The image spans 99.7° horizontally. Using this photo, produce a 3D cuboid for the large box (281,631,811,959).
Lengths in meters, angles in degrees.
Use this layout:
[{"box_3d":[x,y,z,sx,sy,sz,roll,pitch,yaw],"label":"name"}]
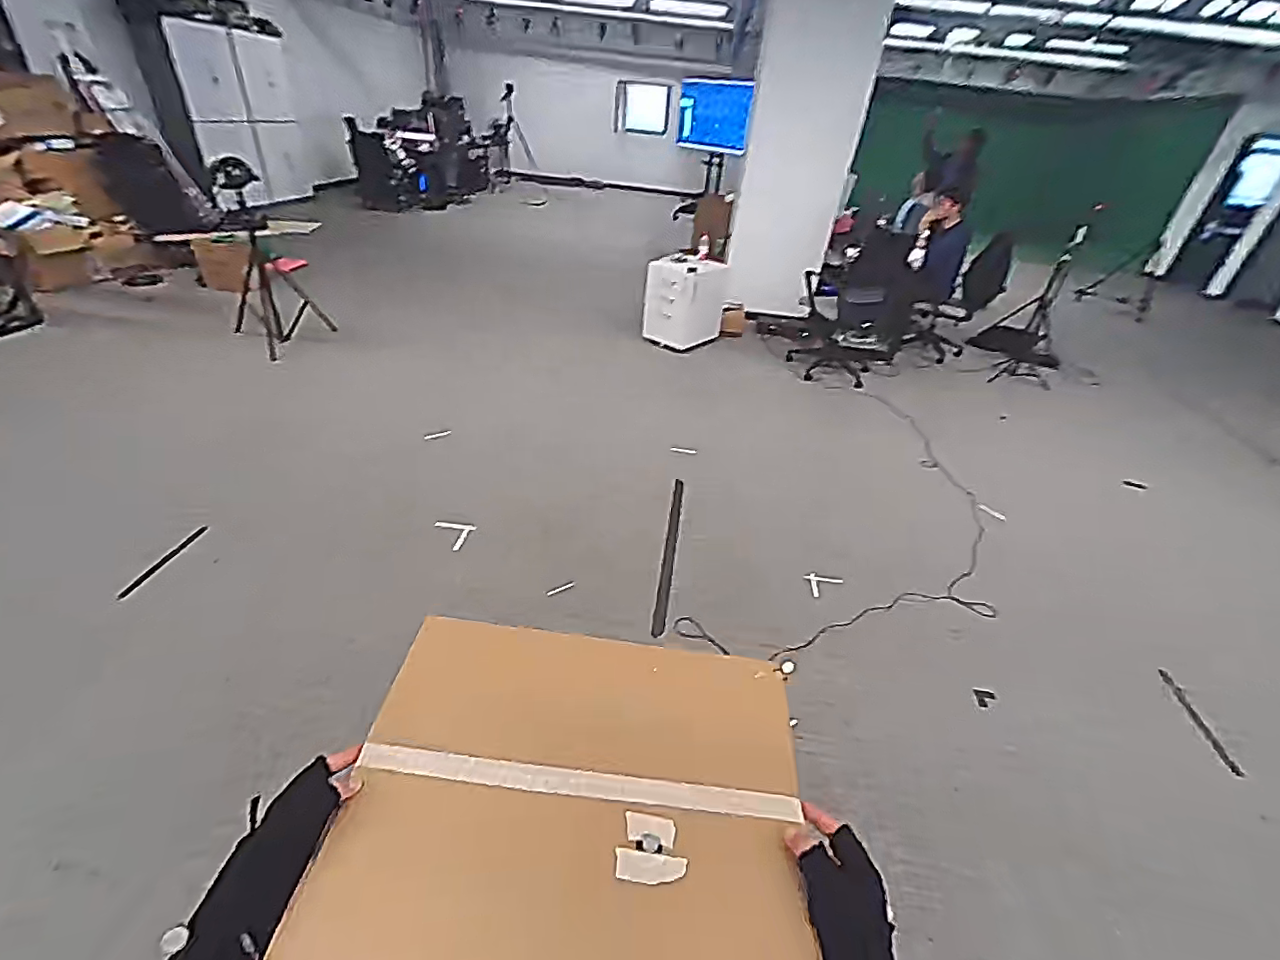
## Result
[{"box_3d":[-0.072,0.406,0.588,0.408,0.320,0.320,8,39,0],"label":"large box"}]
